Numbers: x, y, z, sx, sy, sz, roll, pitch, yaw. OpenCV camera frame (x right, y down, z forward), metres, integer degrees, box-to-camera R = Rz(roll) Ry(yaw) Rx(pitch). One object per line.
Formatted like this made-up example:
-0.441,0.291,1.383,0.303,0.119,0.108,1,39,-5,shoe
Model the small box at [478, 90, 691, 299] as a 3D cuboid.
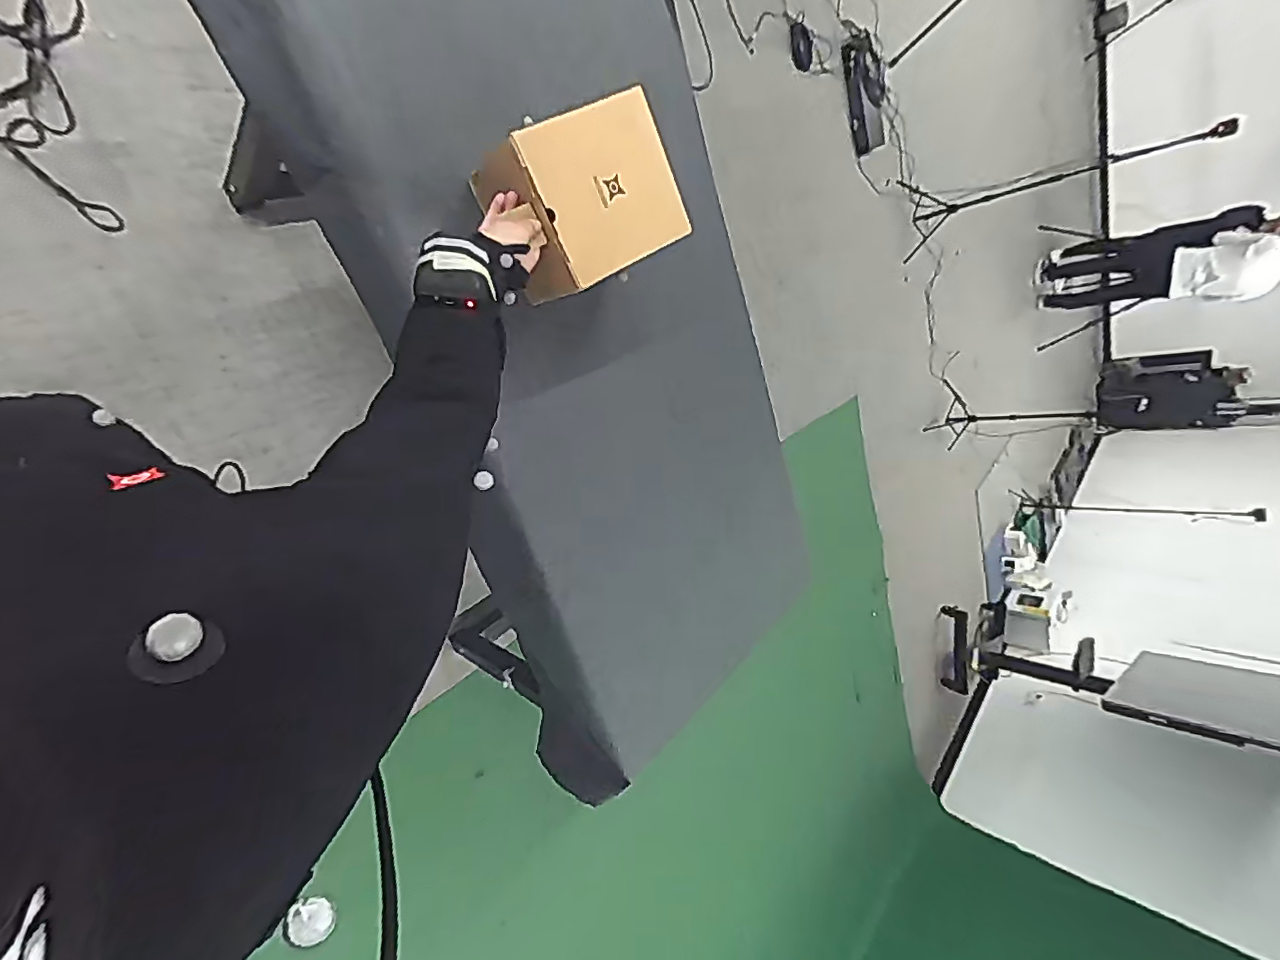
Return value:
-0.073,-0.344,0.677,0.179,0.176,0.168,-36,117,-20,small box
